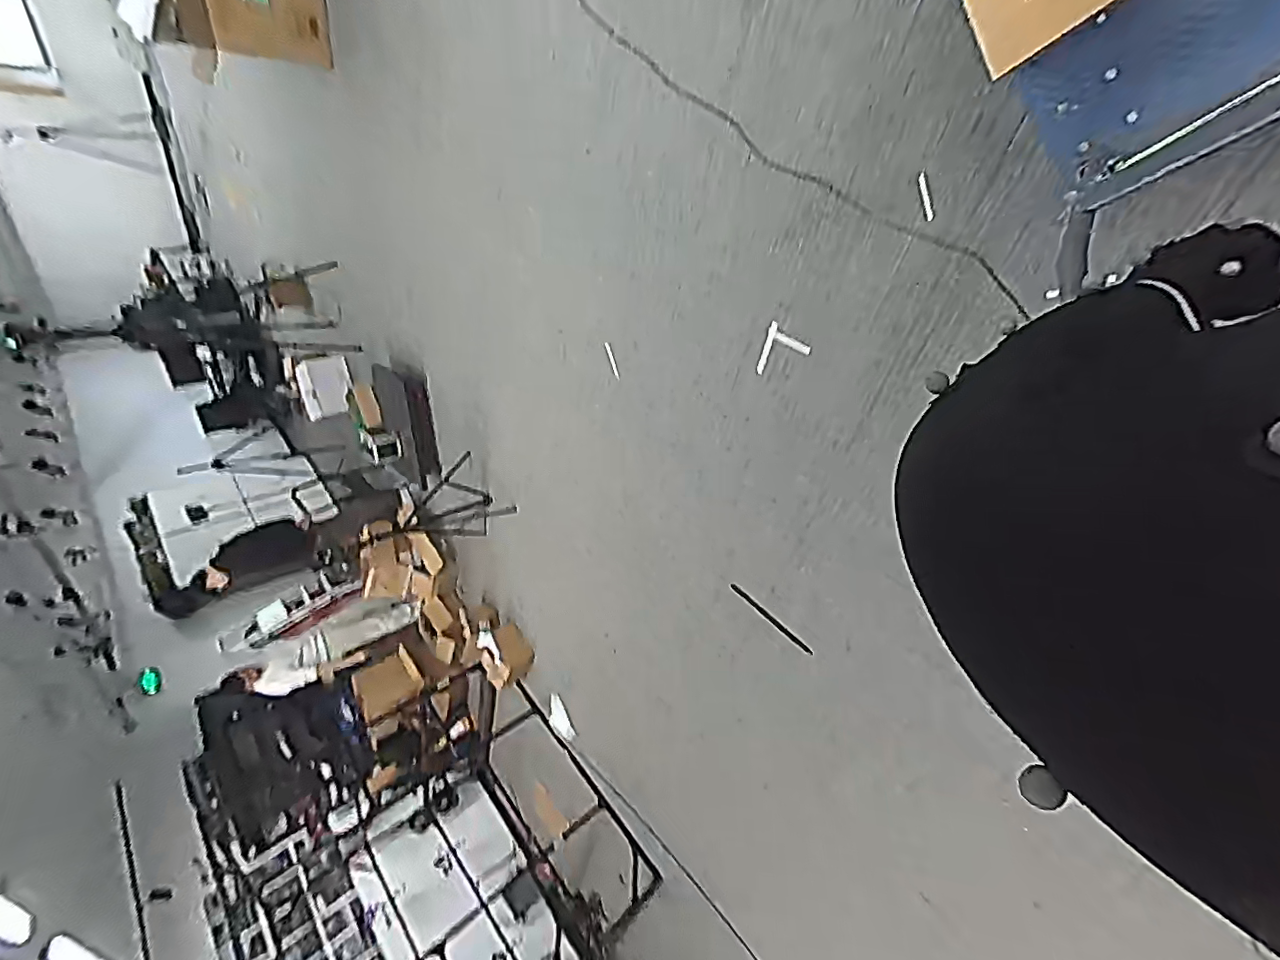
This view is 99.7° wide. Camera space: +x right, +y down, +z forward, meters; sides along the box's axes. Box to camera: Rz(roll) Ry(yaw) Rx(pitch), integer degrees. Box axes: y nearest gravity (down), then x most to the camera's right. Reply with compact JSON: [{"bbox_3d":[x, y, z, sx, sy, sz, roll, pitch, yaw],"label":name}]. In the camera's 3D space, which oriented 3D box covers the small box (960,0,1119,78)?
[{"bbox_3d":[0.630,-0.774,0.845,0.179,0.176,0.168,-17,109,49],"label":"small box"}]
